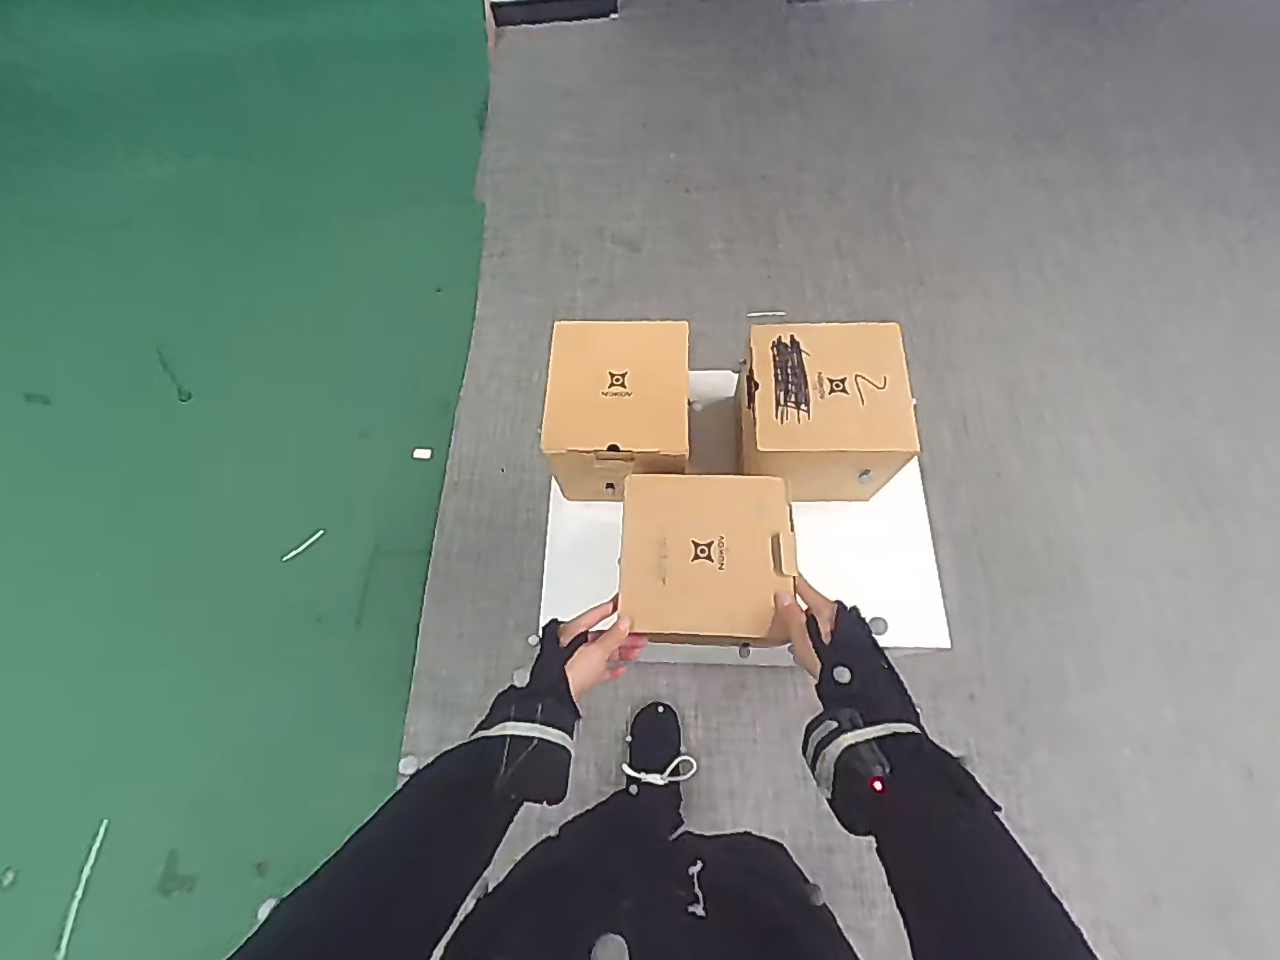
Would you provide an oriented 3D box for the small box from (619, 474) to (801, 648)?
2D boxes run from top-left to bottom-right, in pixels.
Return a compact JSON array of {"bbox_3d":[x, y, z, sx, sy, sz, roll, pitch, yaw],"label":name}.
[{"bbox_3d":[0.075,0.099,0.616,0.179,0.176,0.168,0,69,5],"label":"small box"}]

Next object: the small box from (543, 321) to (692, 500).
[{"bbox_3d":[-0.021,-0.082,0.698,0.168,0.176,0.179,1,69,3],"label":"small box"}]
